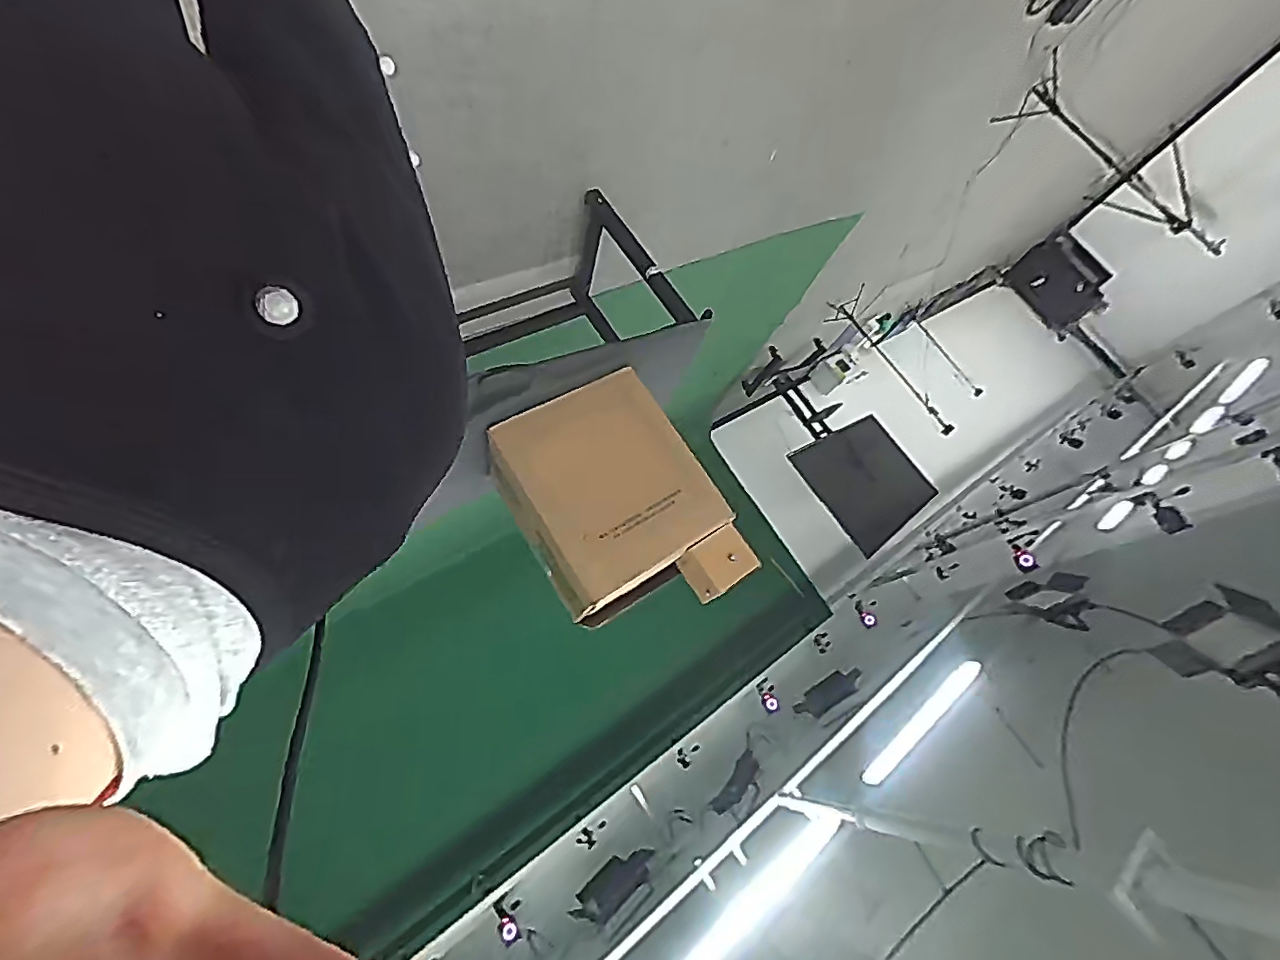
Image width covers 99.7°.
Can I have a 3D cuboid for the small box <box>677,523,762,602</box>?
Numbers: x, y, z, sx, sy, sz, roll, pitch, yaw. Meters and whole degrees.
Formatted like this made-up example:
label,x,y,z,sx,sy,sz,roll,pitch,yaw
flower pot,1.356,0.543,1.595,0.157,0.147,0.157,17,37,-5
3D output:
label,x,y,z,sx,sy,sz,roll,pitch,yaw
small box,0.250,0.263,1.739,0.179,0.176,0.168,-31,166,-24
